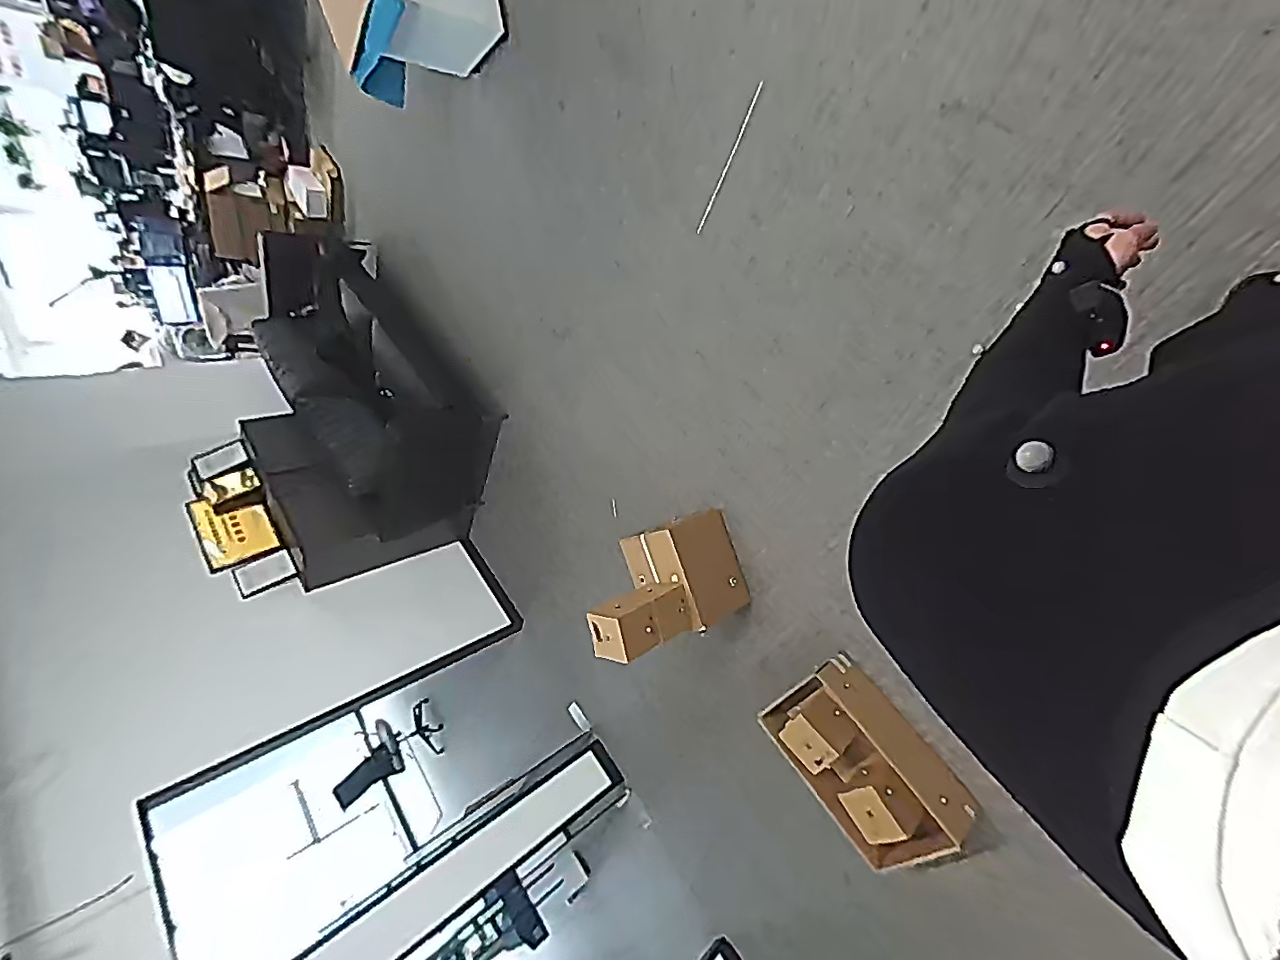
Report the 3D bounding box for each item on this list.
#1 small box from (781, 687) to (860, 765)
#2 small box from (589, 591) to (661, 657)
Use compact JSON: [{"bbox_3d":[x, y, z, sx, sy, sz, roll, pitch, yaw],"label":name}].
[{"bbox_3d":[0.650,0.876,1.946,0.179,0.176,0.168,46,133,26],"label":"small box"},{"bbox_3d":[-0.051,0.506,1.929,0.179,0.176,0.168,-5,100,47],"label":"small box"}]
